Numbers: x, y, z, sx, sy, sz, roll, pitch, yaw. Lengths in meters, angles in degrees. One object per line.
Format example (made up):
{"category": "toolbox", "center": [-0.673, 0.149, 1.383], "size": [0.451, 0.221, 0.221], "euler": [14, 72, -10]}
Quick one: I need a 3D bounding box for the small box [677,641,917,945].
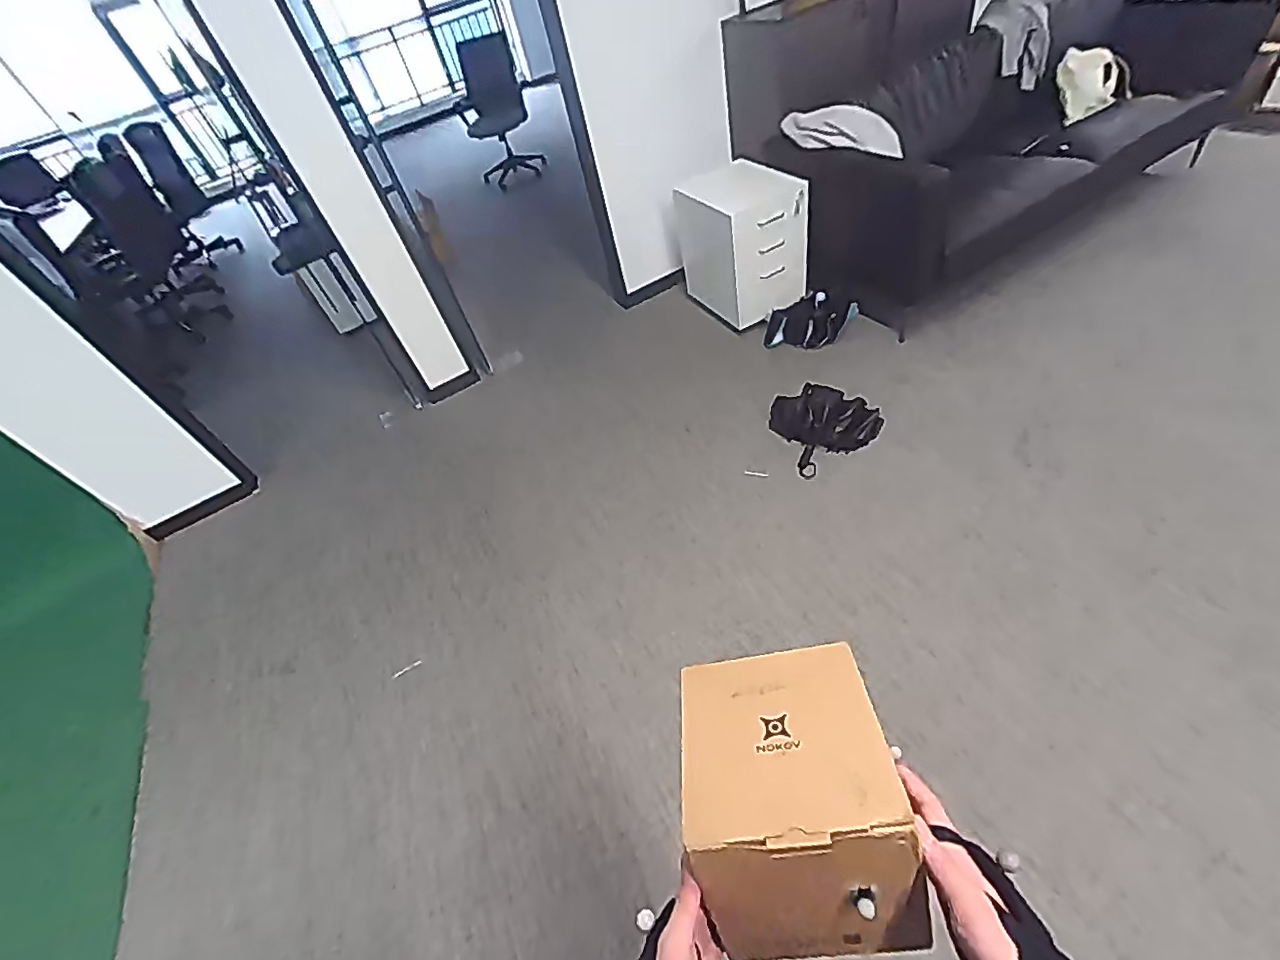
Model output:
{"category": "small box", "center": [0.132, 0.279, 0.486], "size": [0.168, 0.176, 0.179], "euler": [-12, 24, 9]}
